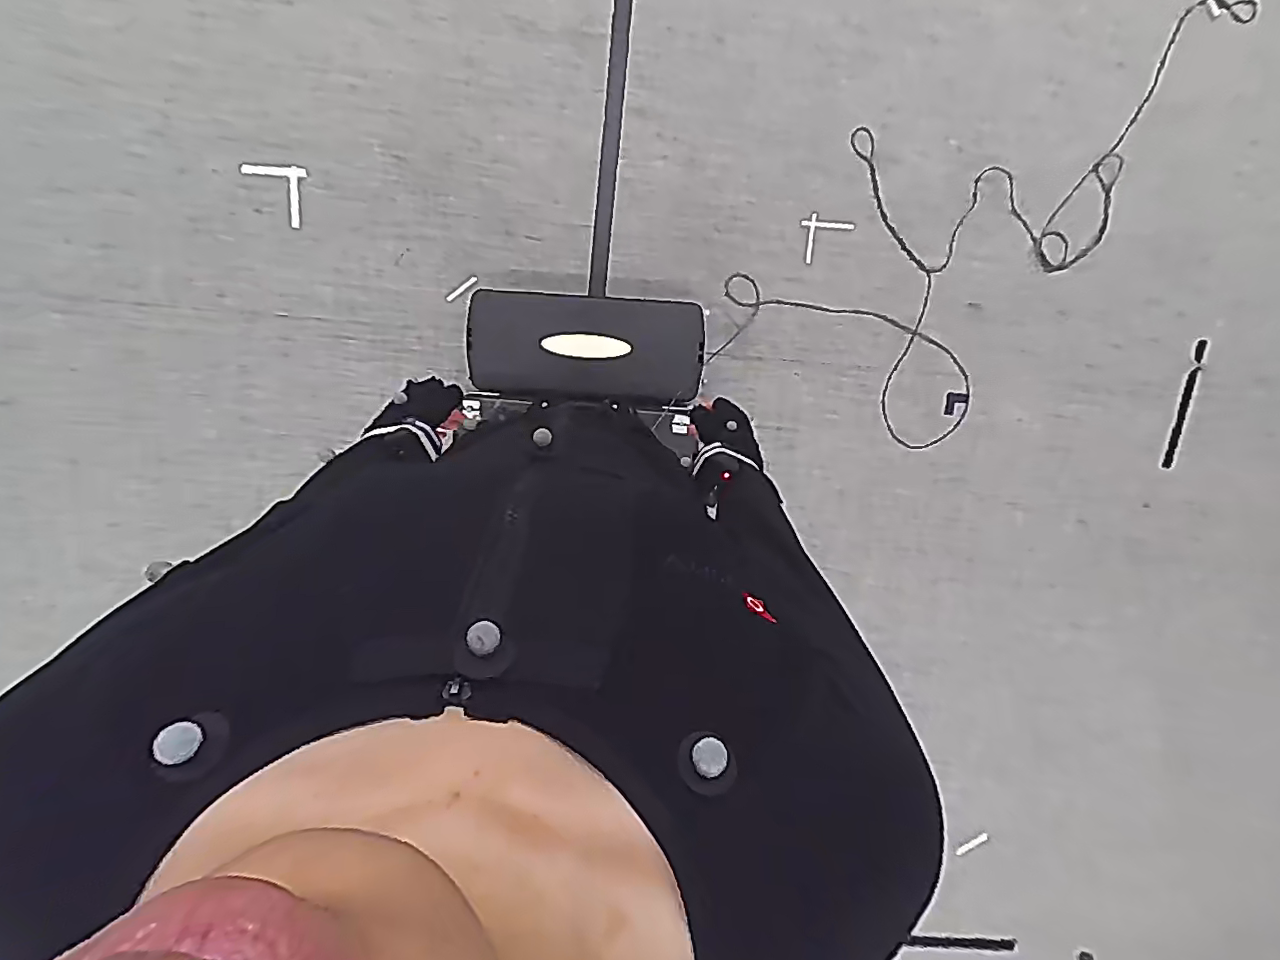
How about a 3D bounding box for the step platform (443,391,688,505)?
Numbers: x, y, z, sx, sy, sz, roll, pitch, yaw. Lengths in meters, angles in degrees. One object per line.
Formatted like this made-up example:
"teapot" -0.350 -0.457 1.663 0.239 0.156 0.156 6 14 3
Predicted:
"step platform" -0.204 -0.092 1.553 0.684 0.204 0.286 4 99 -1
